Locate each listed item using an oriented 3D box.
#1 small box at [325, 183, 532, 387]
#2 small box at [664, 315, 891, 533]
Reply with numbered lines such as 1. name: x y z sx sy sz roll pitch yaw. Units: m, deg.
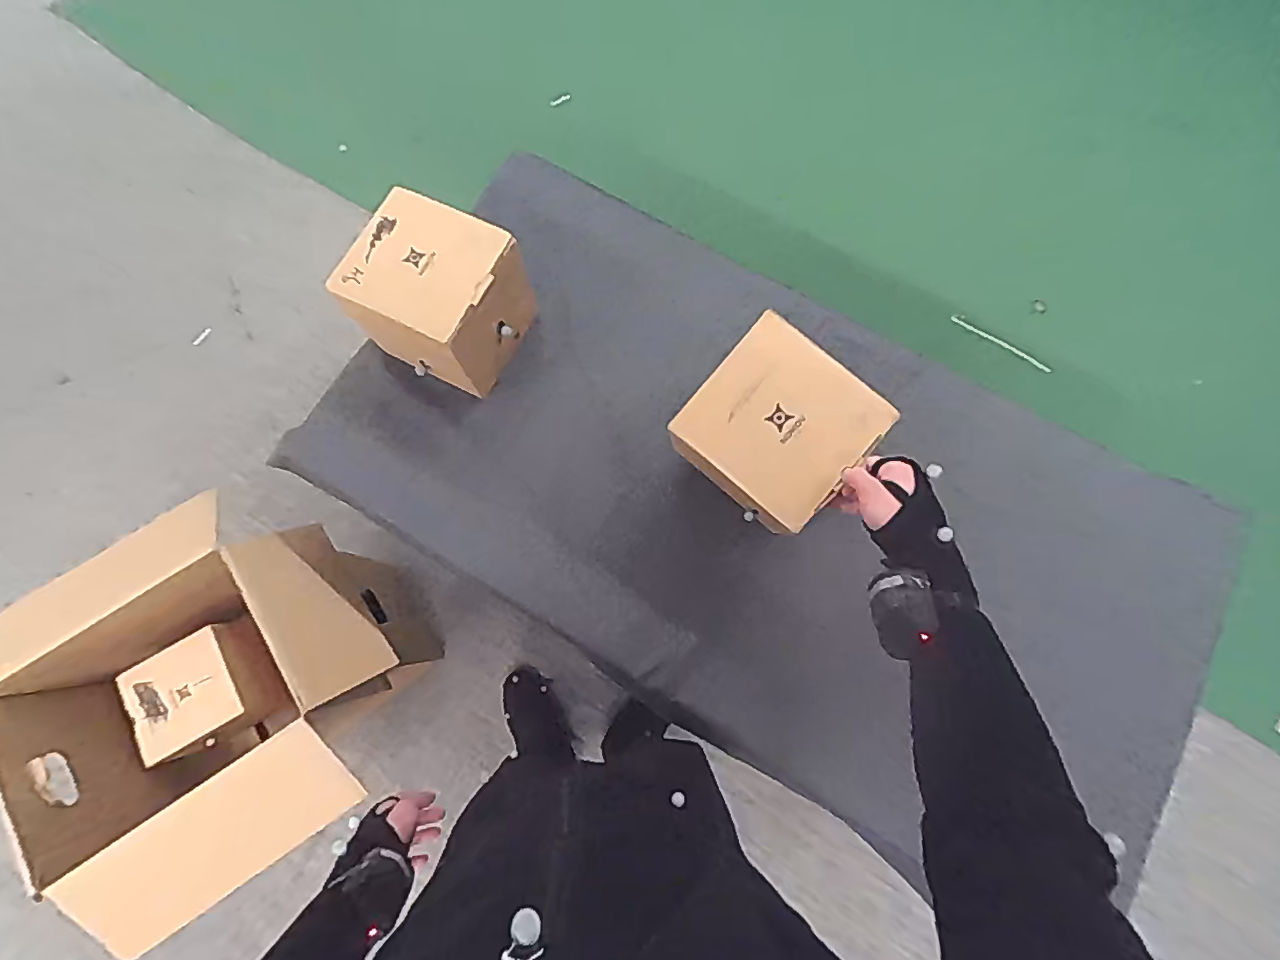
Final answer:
1. small box: -0.266 -0.248 0.732 0.179 0.176 0.168 26 77 5
2. small box: 0.151 -0.055 0.641 0.179 0.176 0.168 39 90 9
